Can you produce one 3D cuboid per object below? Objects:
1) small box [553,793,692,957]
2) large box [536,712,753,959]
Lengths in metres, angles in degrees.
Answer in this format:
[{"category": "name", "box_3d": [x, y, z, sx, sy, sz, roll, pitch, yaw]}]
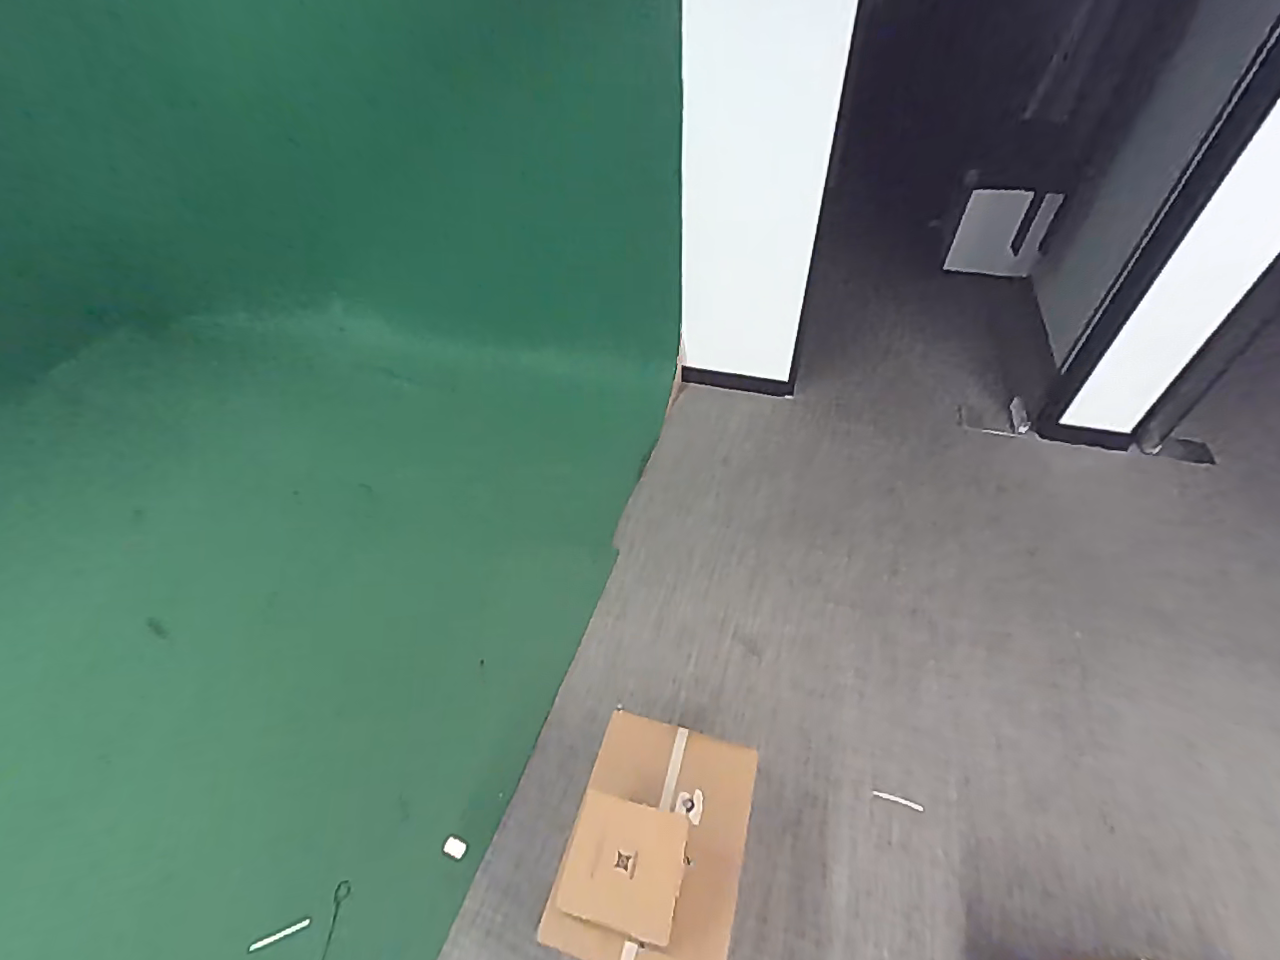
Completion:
[{"category": "small box", "box_3d": [-0.017, 0.643, 0.879, 0.179, 0.176, 0.168, 9, 47, 15]}, {"category": "large box", "box_3d": [0.034, 0.765, 1.097, 0.320, 0.320, 0.408, 11, 48, 14]}]
